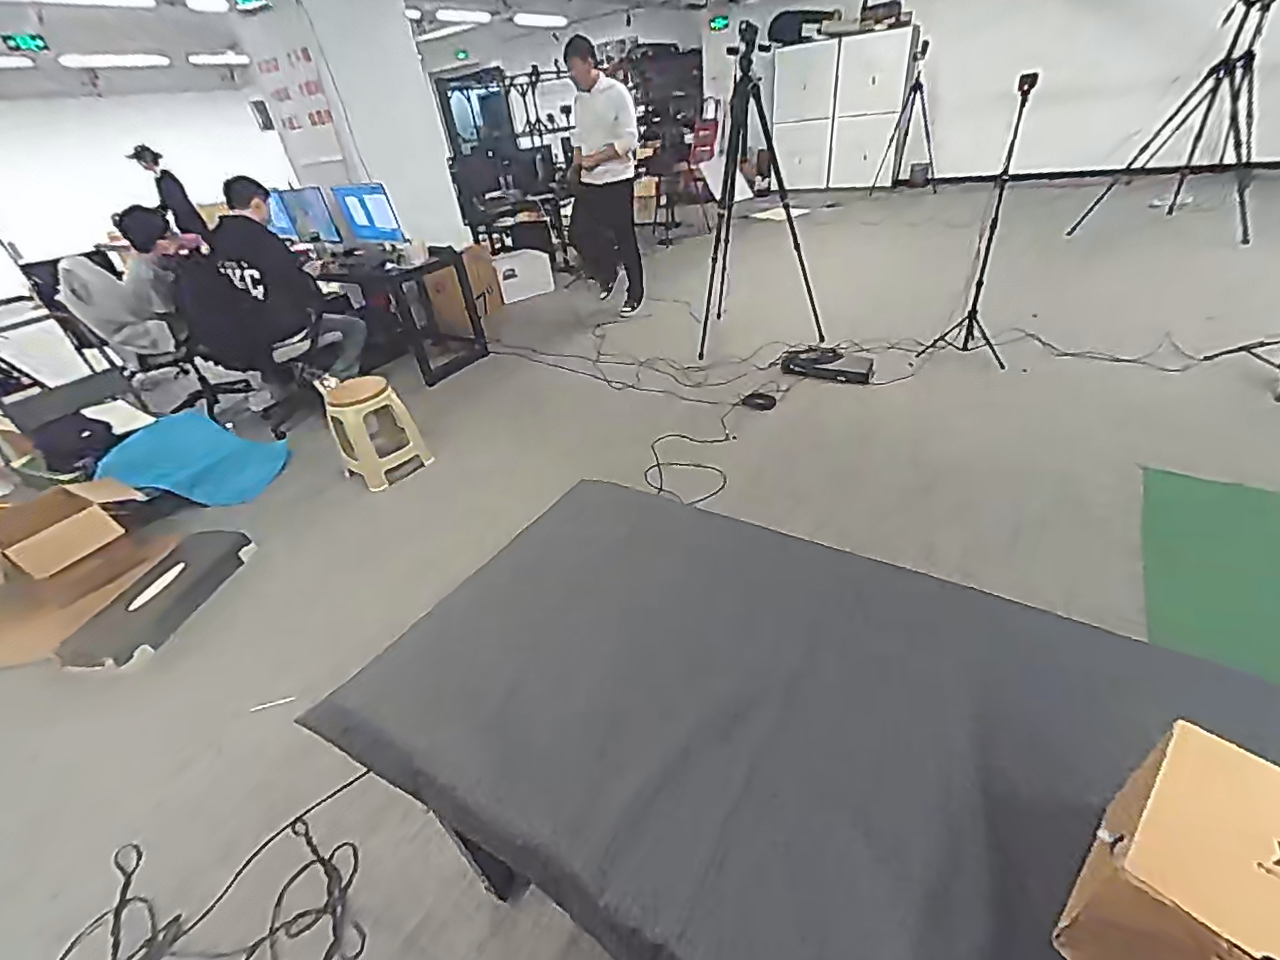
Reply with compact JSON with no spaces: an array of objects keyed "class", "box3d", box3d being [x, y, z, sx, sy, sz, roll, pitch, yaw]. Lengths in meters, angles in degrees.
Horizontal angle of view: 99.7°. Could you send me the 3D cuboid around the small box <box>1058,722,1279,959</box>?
[{"class":"small box","box3d":[0.484,0.350,0.441,0.179,0.176,0.168,-32,41,-30]}]
